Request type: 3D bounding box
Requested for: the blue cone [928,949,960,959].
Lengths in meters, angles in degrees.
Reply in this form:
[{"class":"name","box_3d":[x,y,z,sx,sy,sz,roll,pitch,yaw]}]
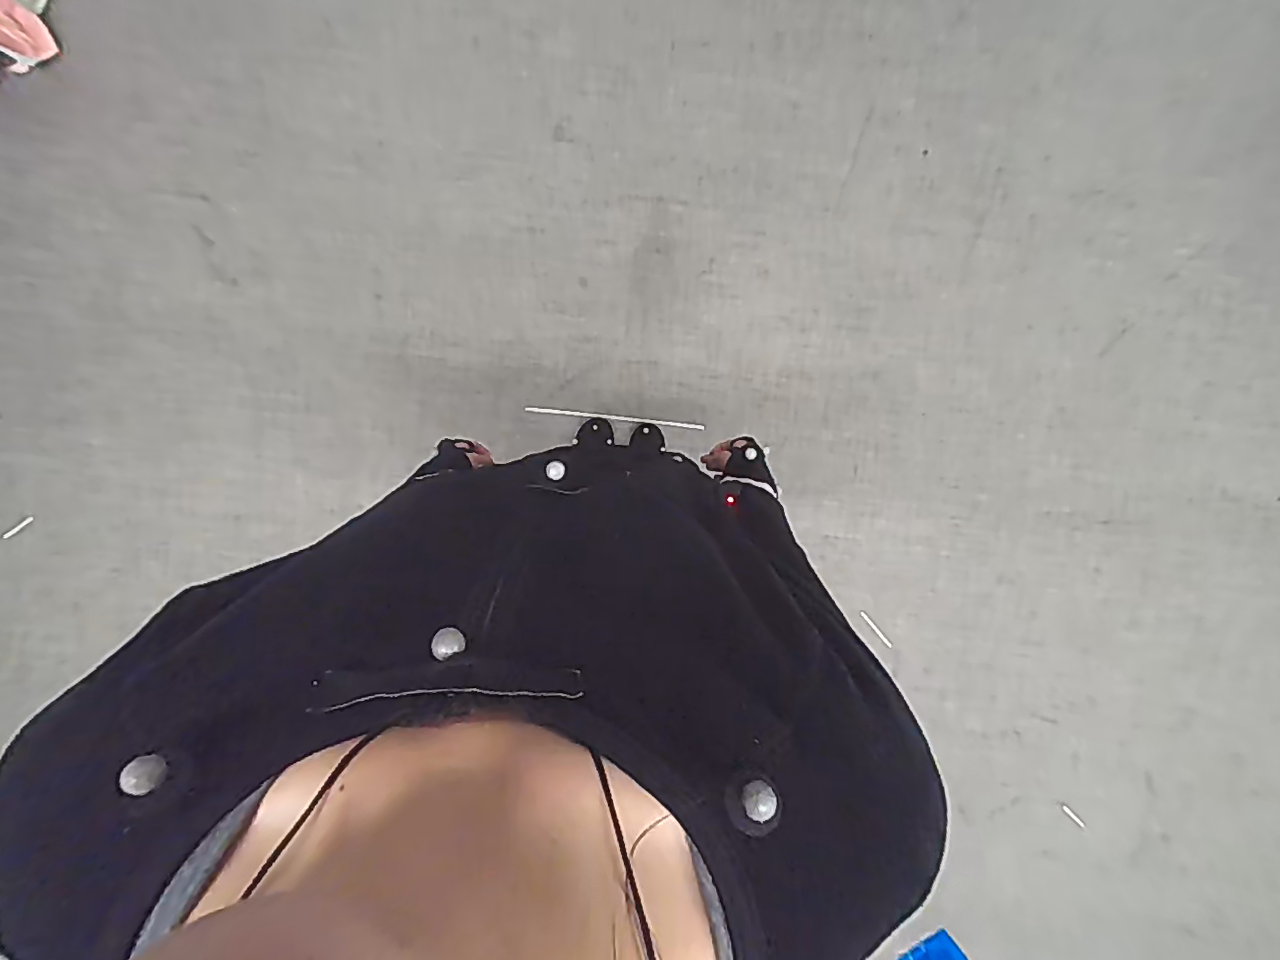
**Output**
[{"class":"blue cone","box_3d":[0.943,1.574,1.513,0.193,0.380,0.192,-39,95,1]}]
